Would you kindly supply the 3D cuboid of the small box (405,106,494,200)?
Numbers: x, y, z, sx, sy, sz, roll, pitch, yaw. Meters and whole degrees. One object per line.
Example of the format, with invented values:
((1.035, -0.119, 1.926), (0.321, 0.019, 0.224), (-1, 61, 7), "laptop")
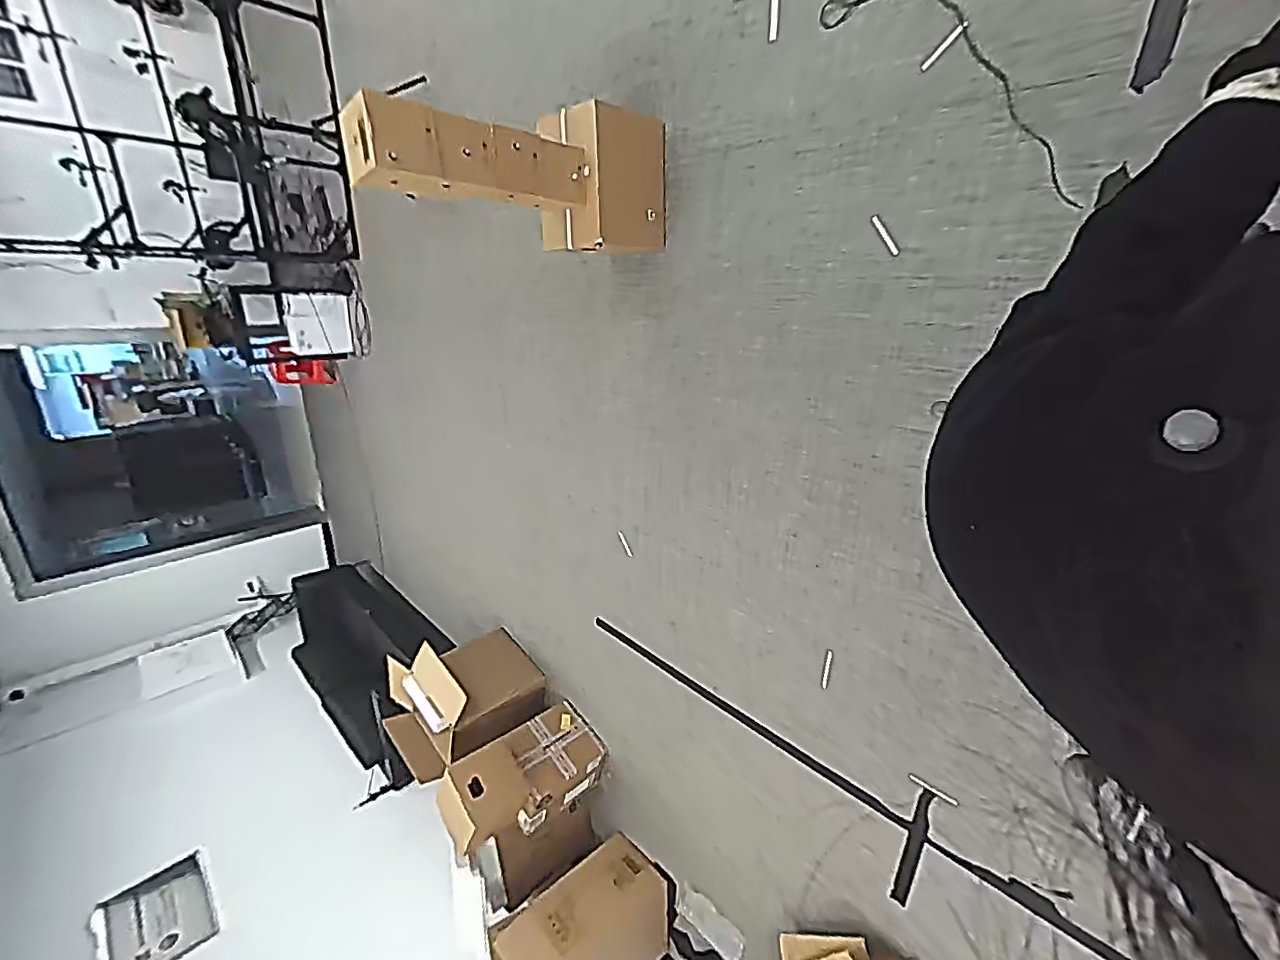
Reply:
((-0.514, -0.884, 1.479), (0.179, 0.176, 0.168), (9, 109, 44), "small box")

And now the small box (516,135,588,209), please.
((-0.283, -0.958, 1.698), (0.179, 0.176, 0.168), (16, 115, 42), "small box")

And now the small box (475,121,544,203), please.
((-0.394, -0.925, 1.585), (0.179, 0.176, 0.168), (15, 113, 44), "small box")
